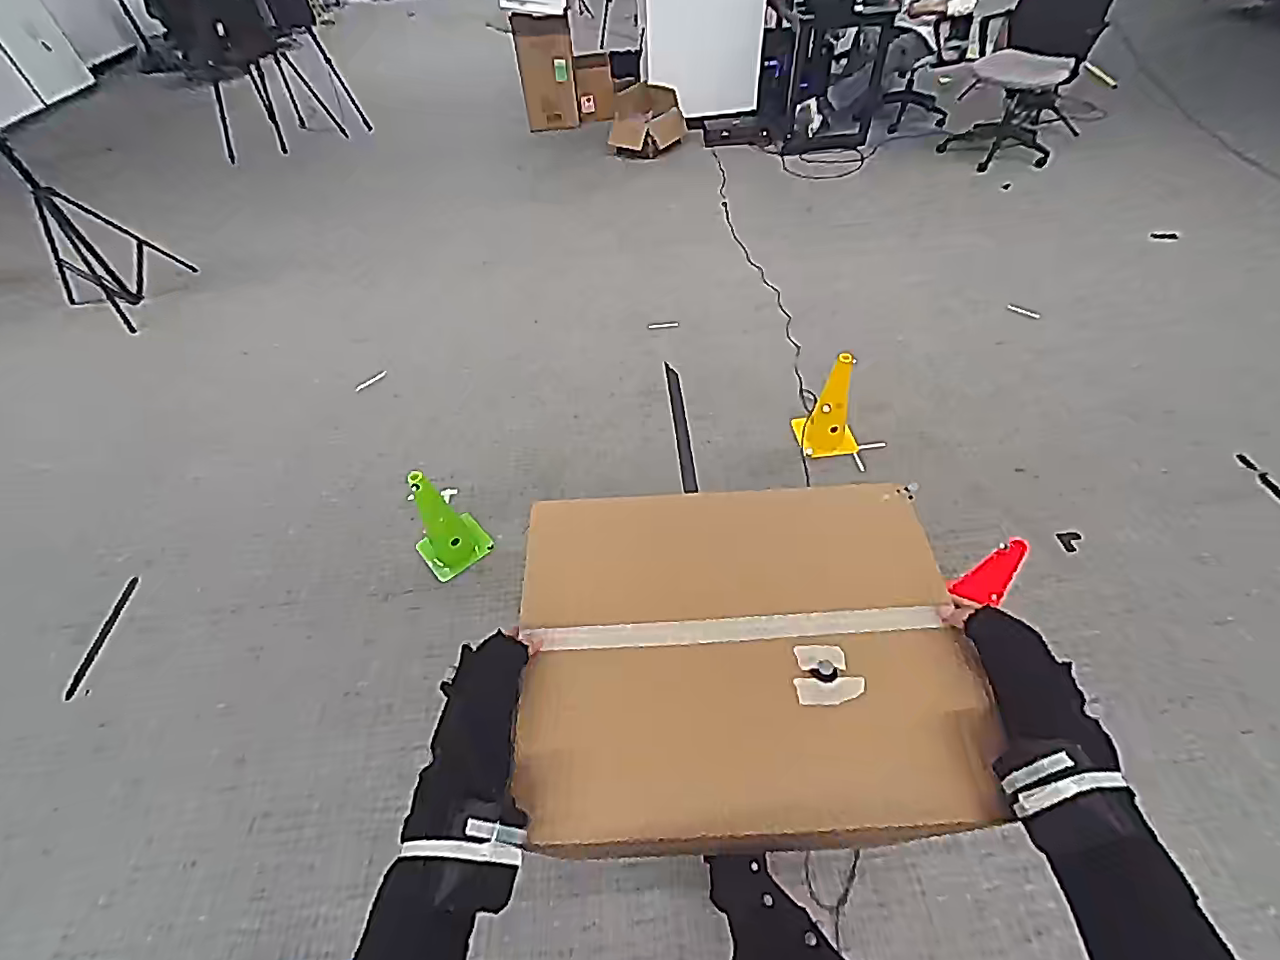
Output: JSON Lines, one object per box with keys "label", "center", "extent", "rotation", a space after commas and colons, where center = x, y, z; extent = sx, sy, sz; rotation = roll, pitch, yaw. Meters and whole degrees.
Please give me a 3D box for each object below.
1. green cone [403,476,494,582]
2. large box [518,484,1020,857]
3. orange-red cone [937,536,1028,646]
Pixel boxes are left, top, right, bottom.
{"label": "green cone", "center": [-0.620, 0.111, 1.639], "extent": [0.202, 0.368, 0.200], "rotation": [-37, 56, -22]}
{"label": "large box", "center": [0.096, 0.228, 0.626], "extent": [0.408, 0.320, 0.320], "rotation": [-3, 53, 0]}
{"label": "orange-red cone", "center": [0.890, 0.258, 1.386], "extent": [0.198, 0.360, 0.199], "rotation": [-7, 48, -3]}
